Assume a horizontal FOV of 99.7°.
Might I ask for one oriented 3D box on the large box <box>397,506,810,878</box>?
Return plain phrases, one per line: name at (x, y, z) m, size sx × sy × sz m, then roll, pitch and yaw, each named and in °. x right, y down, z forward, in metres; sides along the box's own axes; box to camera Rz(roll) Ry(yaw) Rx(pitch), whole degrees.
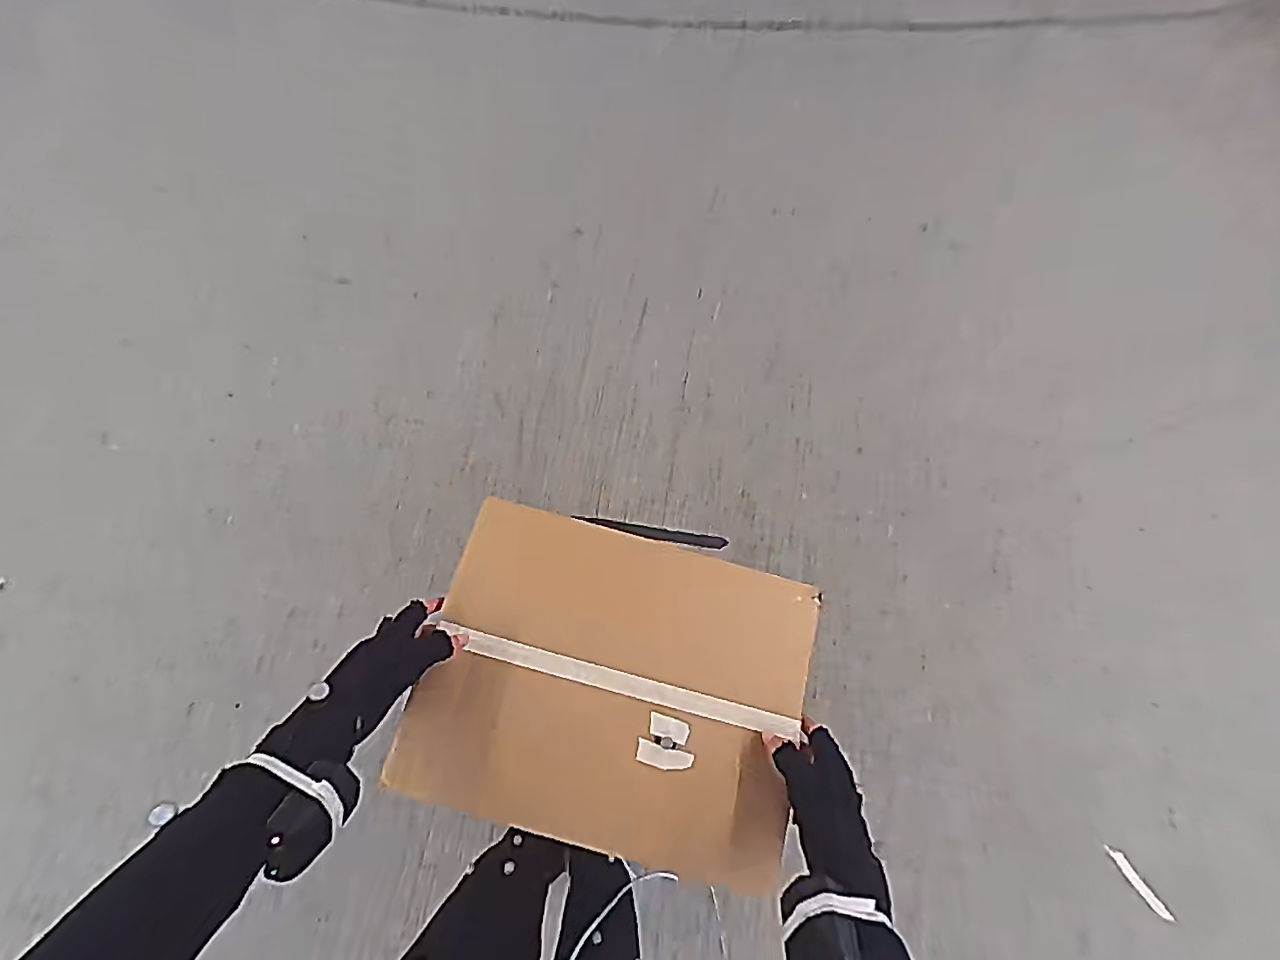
large box at (-0.037, 0.265, 0.739) m, size 0.408 × 0.320 × 0.320 m, roll 16°, pitch 72°, yaw 1°
